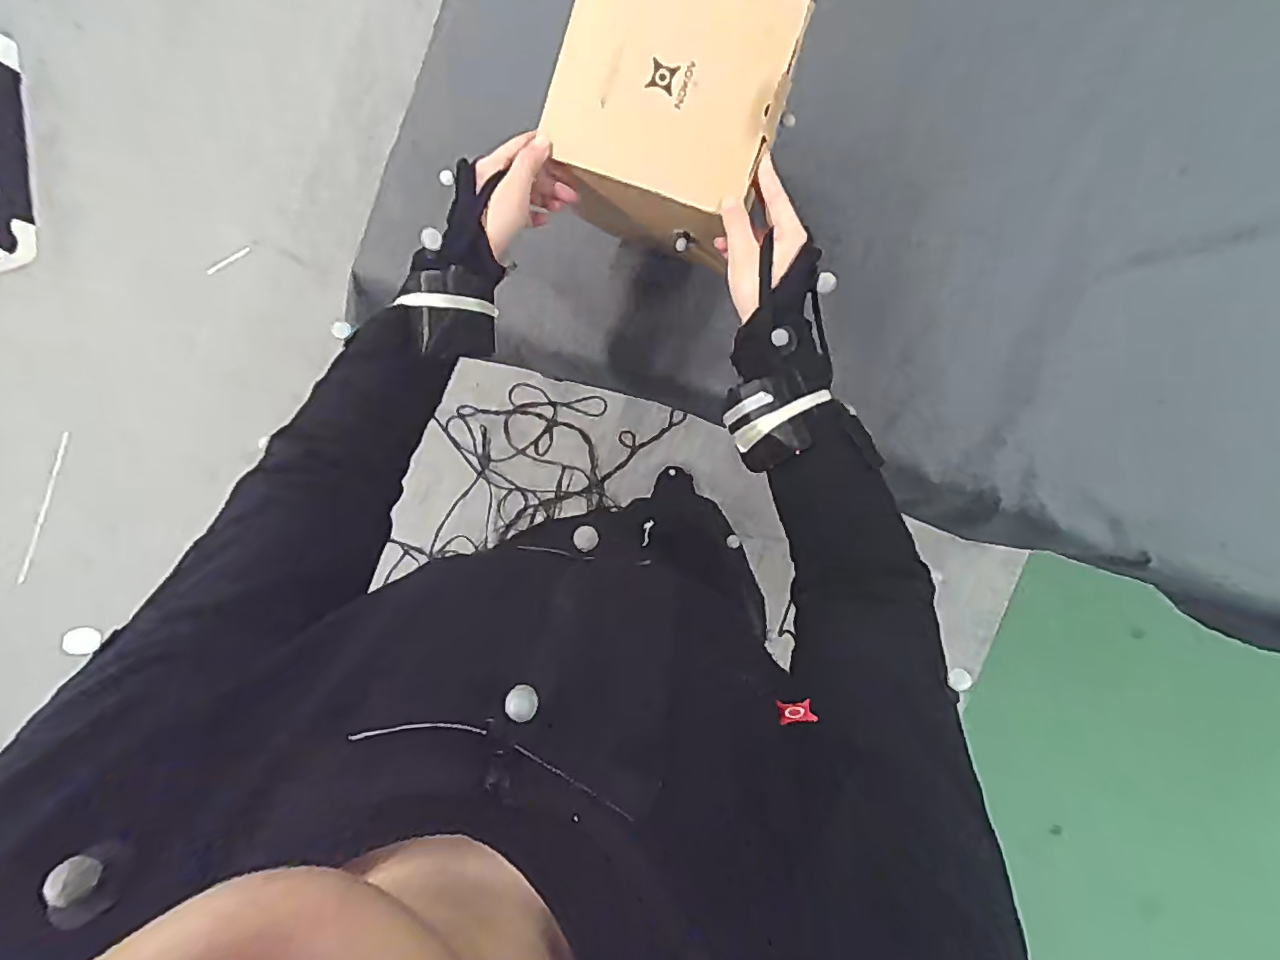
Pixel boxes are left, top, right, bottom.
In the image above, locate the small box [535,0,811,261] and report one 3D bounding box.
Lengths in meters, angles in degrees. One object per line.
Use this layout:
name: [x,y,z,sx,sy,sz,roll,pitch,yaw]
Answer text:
small box: [0.030,-0.322,0.496,0.179,0.176,0.168,19,97,5]
